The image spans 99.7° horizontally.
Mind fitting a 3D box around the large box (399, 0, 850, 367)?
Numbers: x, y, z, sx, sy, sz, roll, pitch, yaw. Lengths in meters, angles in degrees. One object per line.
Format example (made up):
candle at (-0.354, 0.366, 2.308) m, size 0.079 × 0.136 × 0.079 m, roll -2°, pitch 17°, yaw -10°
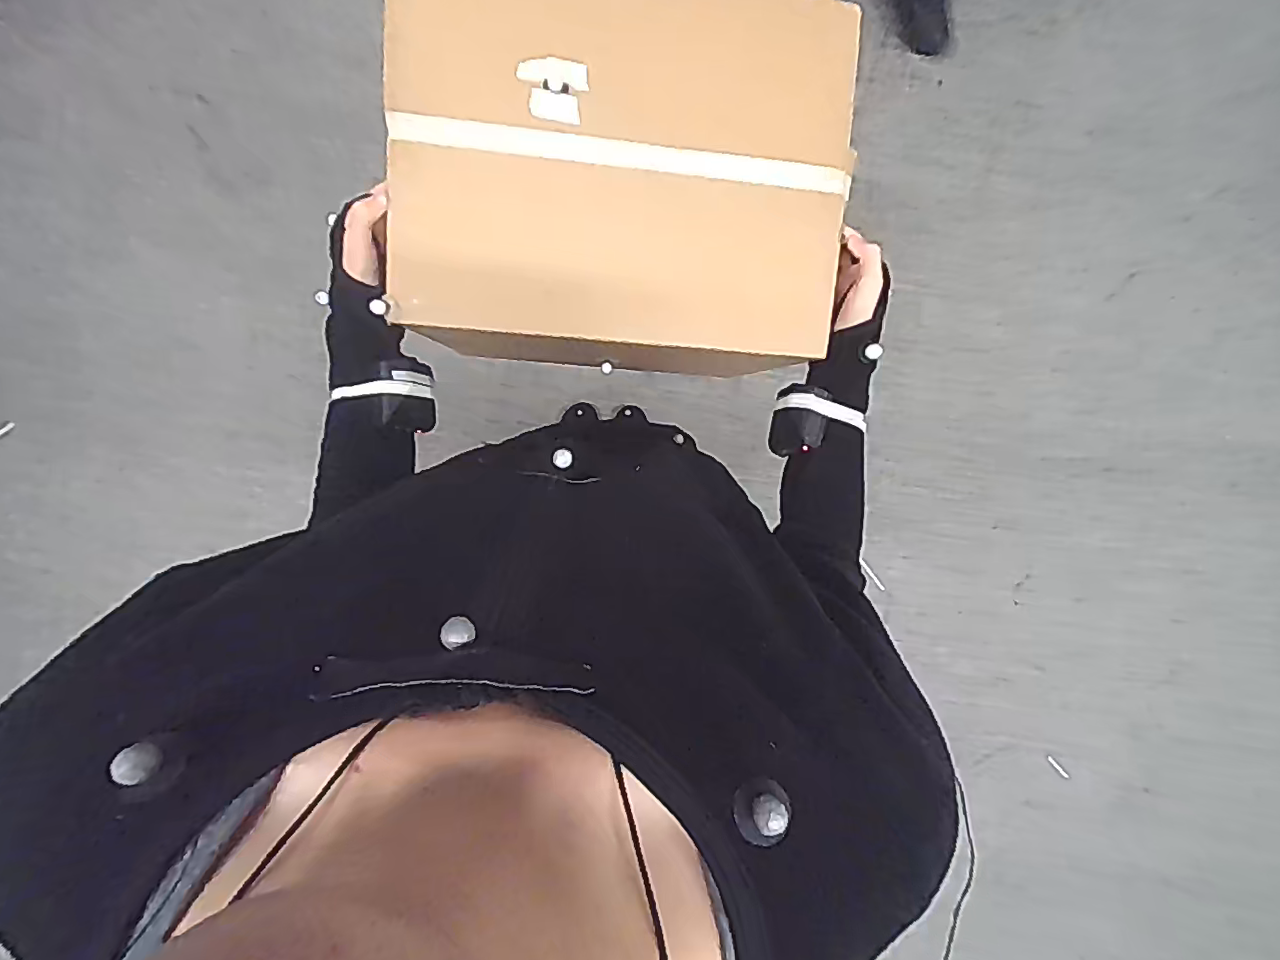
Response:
large box at (-0.026, -0.304, 0.636) m, size 0.408 × 0.320 × 0.320 m, roll 3°, pitch 97°, yaw -7°
